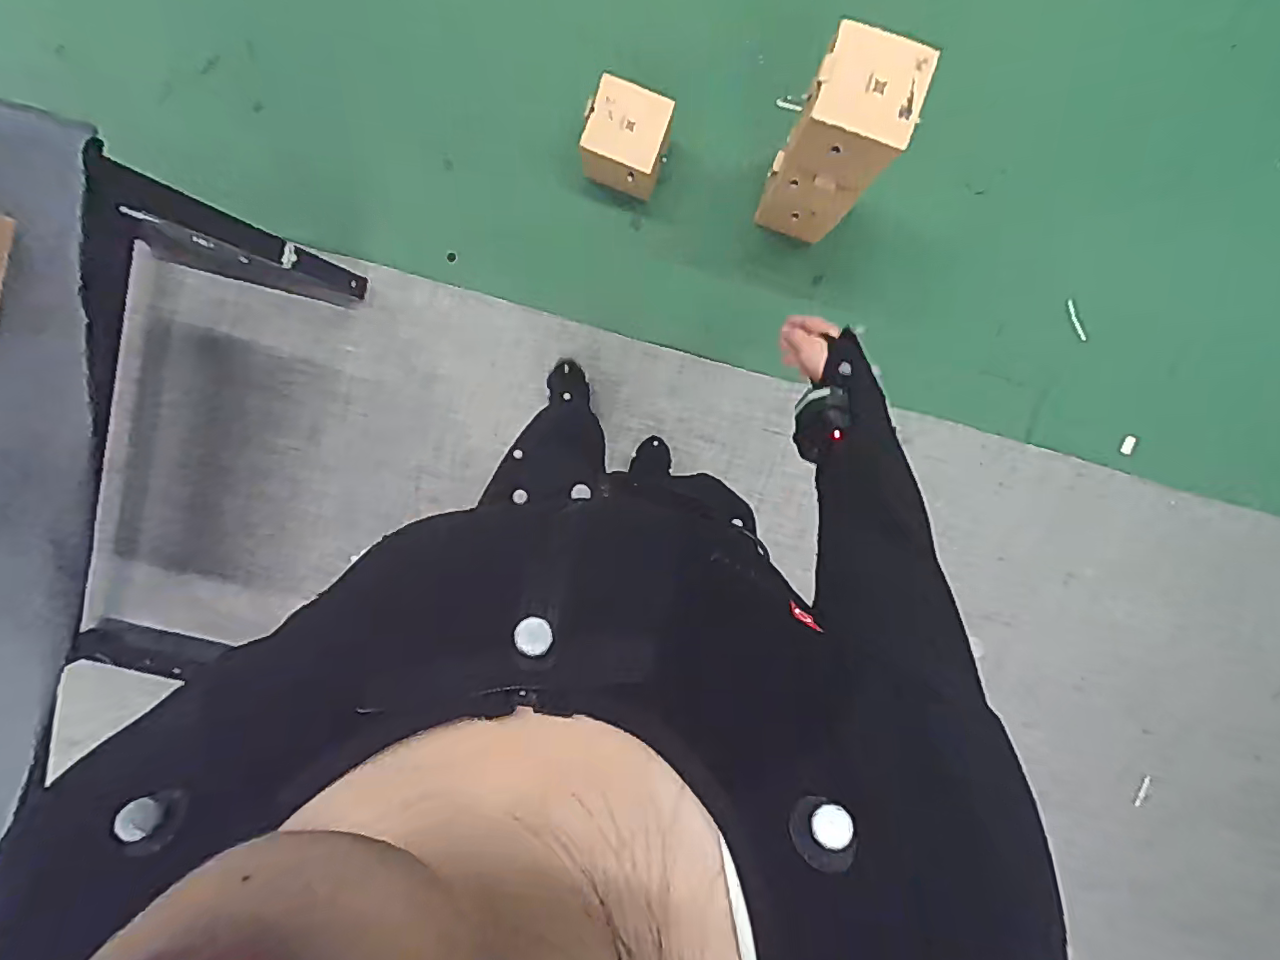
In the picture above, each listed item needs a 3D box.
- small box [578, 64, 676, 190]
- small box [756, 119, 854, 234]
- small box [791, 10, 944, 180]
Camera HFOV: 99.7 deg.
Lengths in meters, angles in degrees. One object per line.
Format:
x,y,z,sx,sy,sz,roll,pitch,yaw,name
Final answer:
-0.029,-0.818,1.276,0.179,0.176,0.168,21,97,-3,small box
0.401,-0.714,1.295,0.179,0.176,0.168,19,98,-3,small box
0.391,-0.673,0.969,0.179,0.176,0.168,18,97,-2,small box
